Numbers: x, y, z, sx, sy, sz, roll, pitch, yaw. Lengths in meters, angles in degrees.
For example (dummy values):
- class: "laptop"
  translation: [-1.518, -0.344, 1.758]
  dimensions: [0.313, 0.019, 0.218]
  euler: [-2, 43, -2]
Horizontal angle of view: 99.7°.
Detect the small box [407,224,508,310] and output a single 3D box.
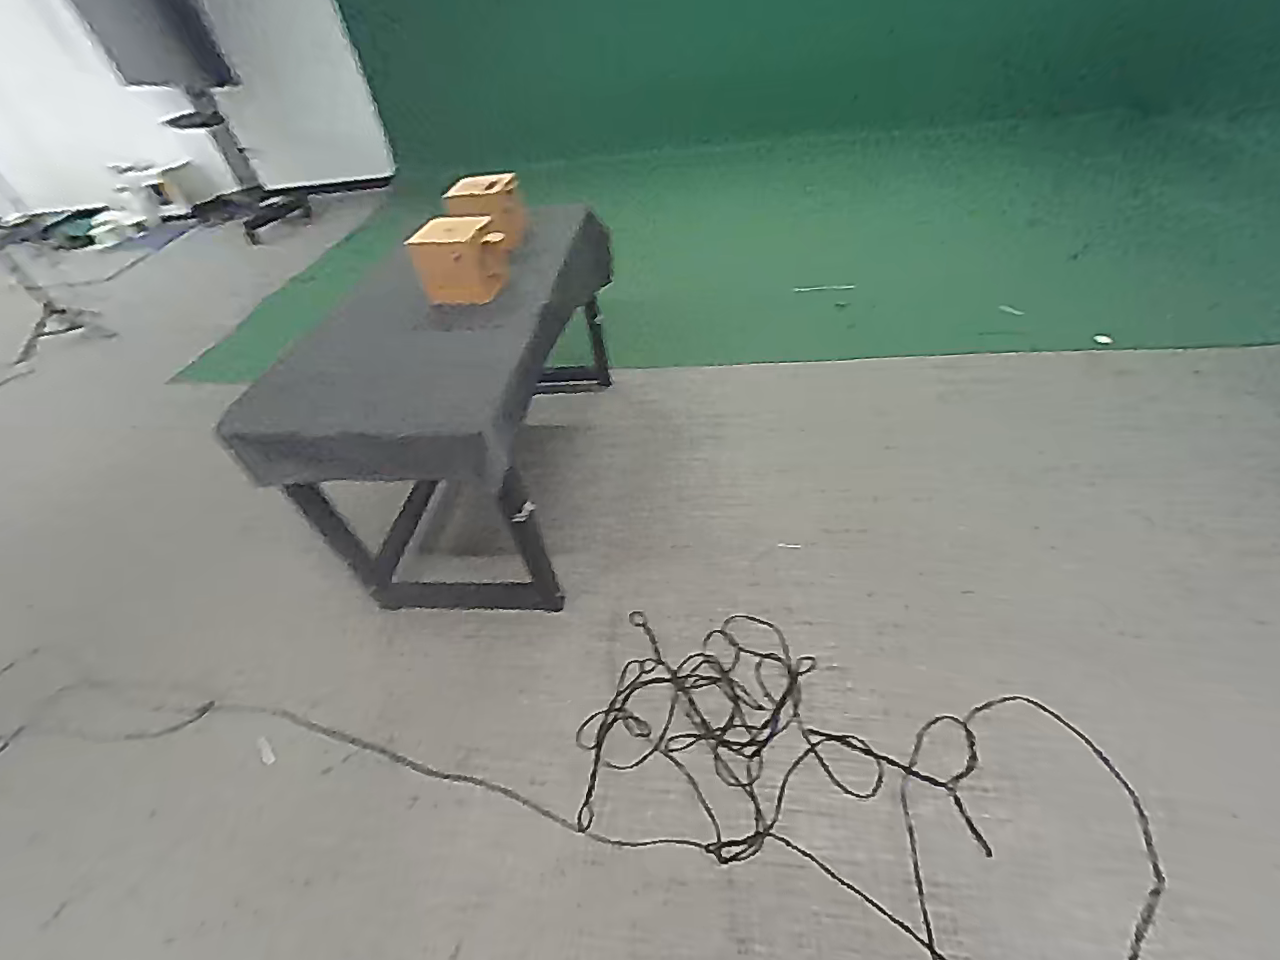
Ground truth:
- class: "small box"
  translation: [-0.483, -0.571, 1.457]
  dimensions: [0.179, 0.176, 0.168]
  euler: [4, 45, 12]
